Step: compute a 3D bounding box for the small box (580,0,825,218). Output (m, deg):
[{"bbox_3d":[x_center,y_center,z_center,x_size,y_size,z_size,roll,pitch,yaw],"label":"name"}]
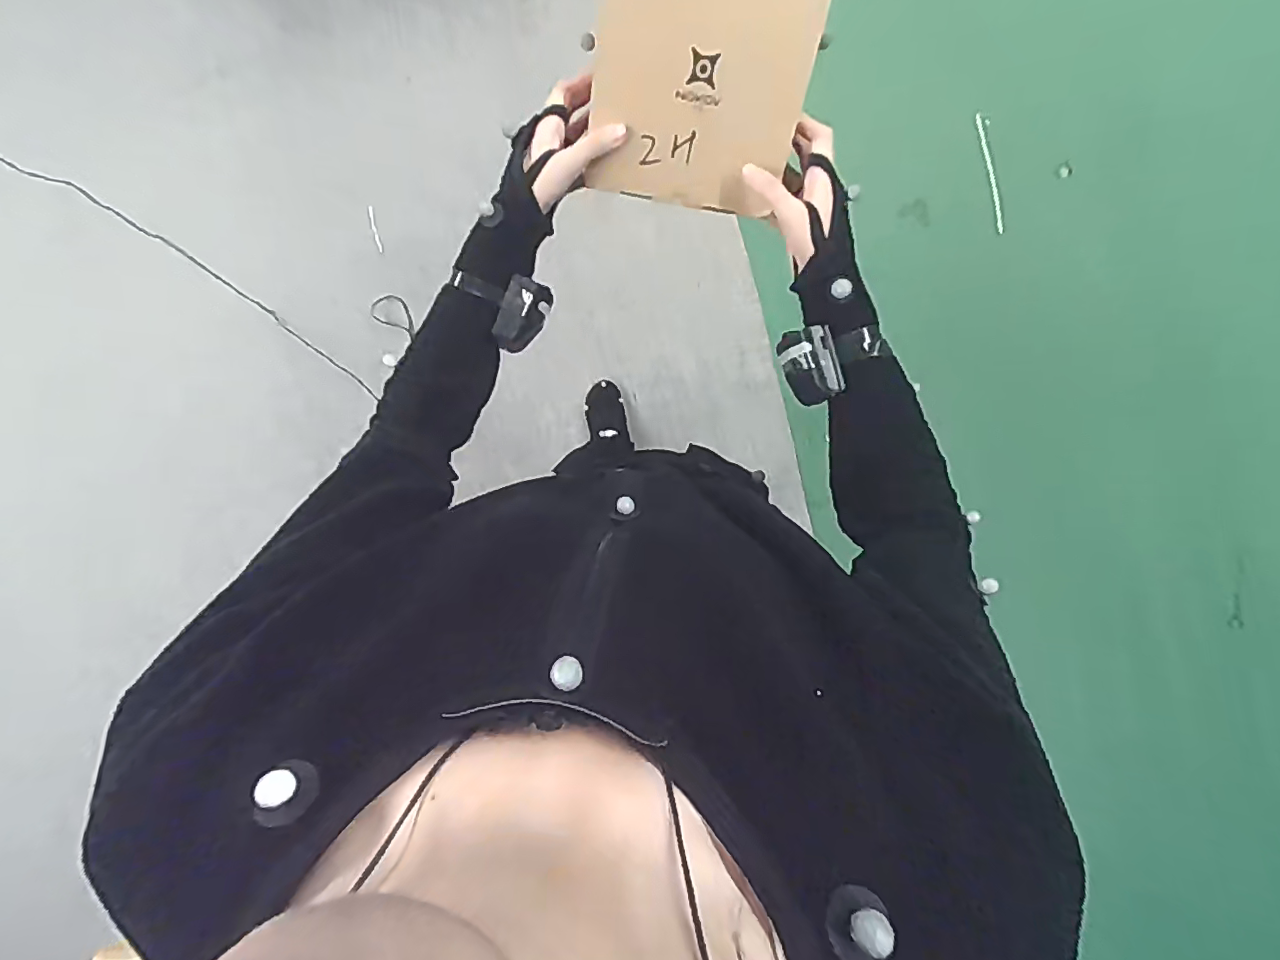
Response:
[{"bbox_3d":[0.044,-0.355,0.476,0.168,0.176,0.179,8,128,-4],"label":"small box"}]
